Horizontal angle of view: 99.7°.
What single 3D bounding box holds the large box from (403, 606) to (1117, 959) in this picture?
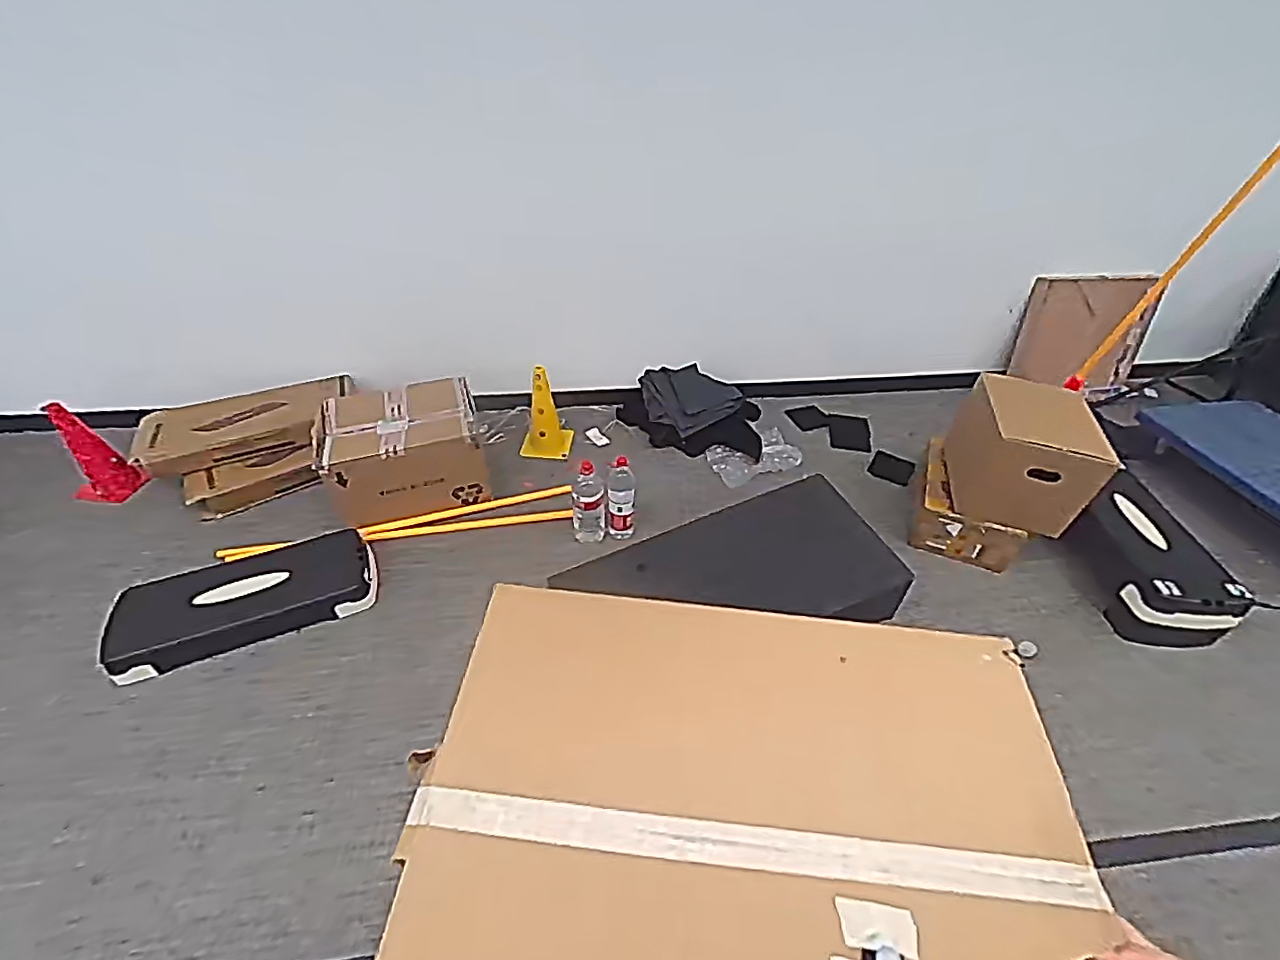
[{"bbox_3d":[0.065,0.329,0.440,0.408,0.320,0.320,6,49,2],"label":"large box"}]
